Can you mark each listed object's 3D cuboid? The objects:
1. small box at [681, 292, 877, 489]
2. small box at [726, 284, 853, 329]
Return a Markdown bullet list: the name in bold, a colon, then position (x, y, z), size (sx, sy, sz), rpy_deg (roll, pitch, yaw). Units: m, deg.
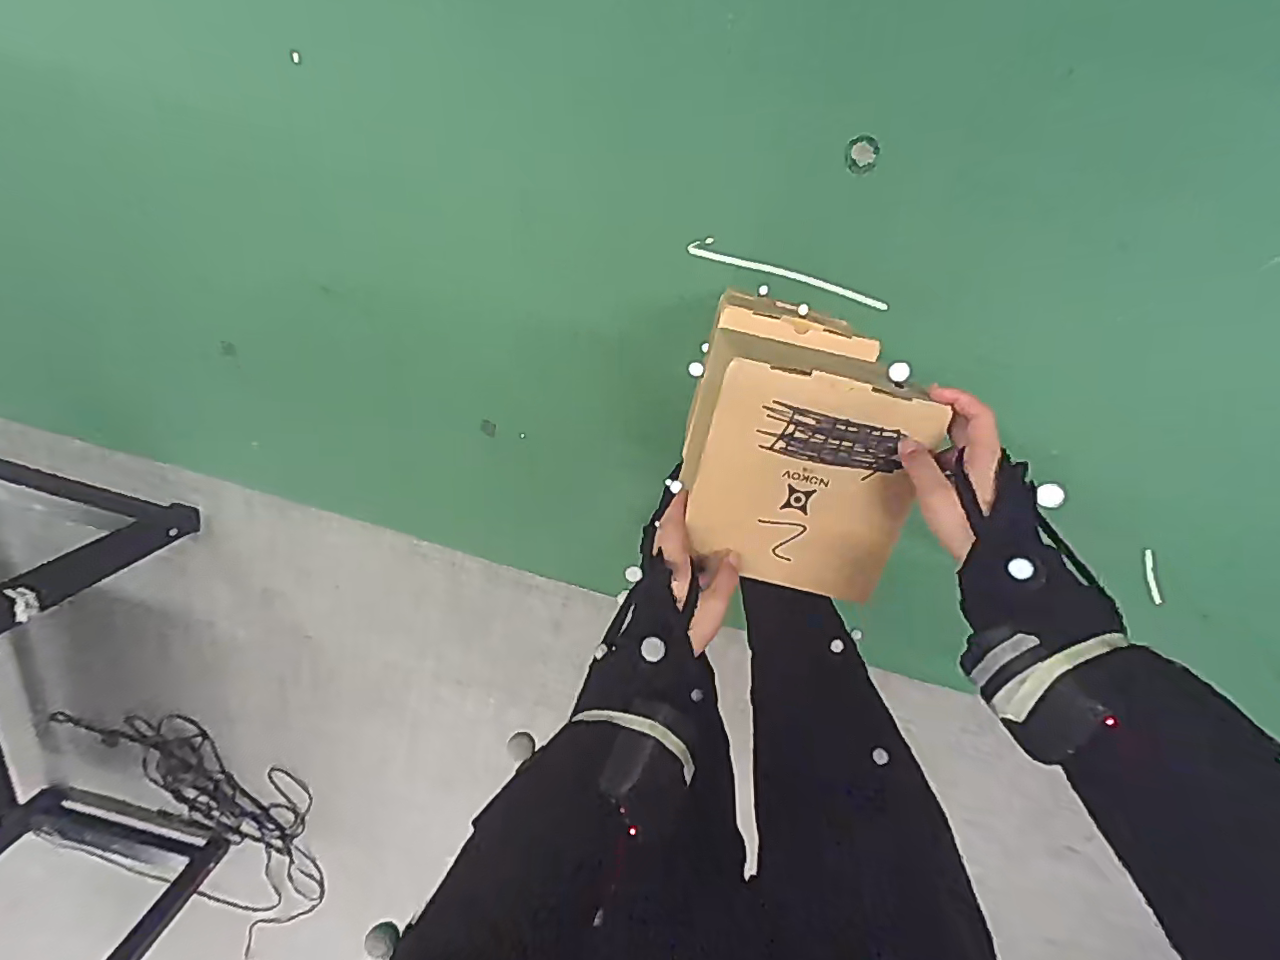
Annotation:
- **small box**: position (0.156, -0.117, 0.654), size (0.168, 0.176, 0.179), rpy_deg (15, 113, 2)
- **small box**: position (0.187, -0.181, 0.800), size (0.168, 0.176, 0.179), rpy_deg (16, 115, 2)
